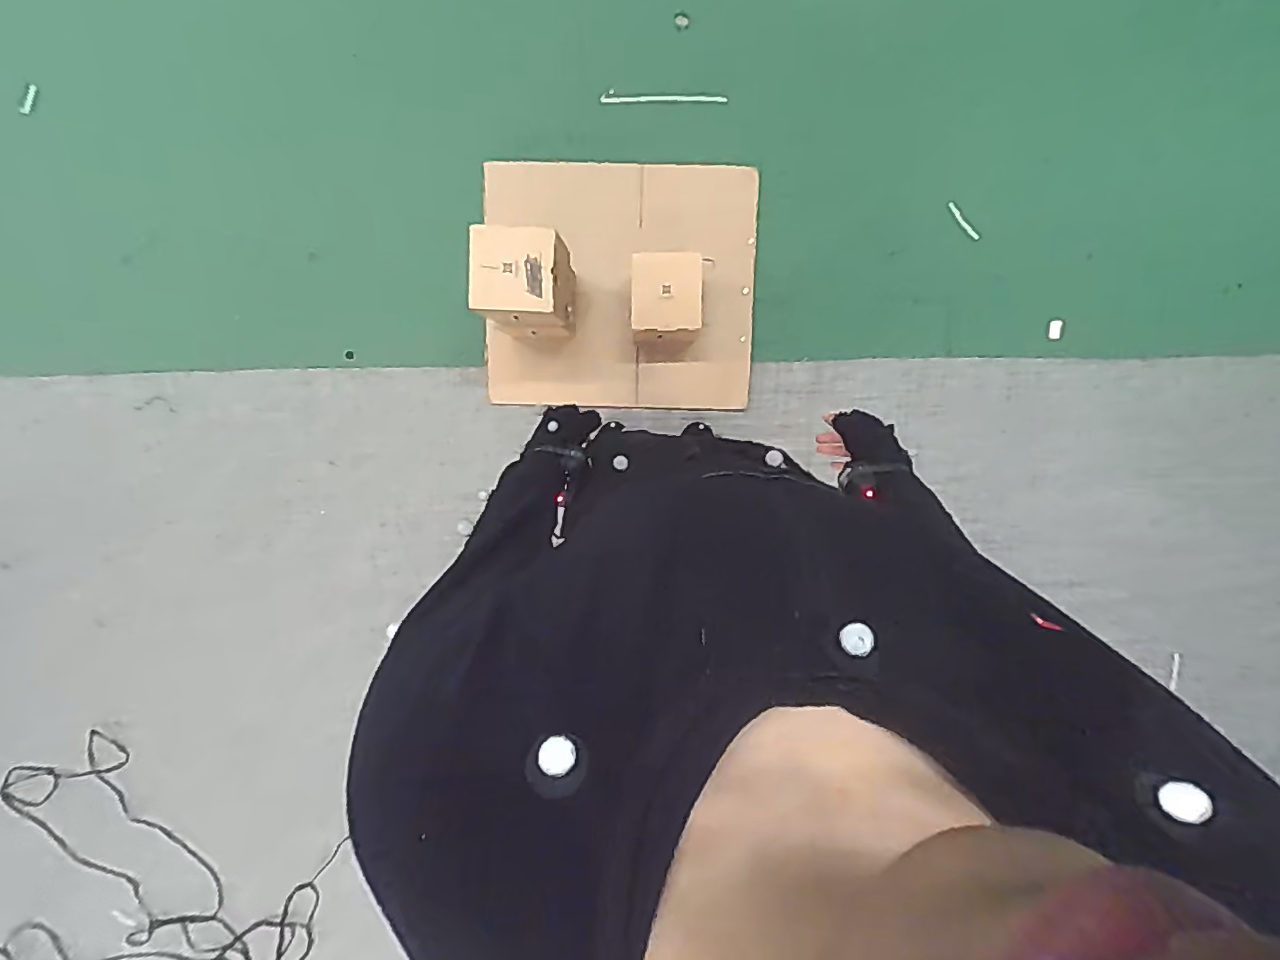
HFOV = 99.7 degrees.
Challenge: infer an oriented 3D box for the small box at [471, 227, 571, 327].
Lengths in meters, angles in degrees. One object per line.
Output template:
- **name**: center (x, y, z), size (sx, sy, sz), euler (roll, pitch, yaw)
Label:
- **small box**: center (-0.248, -0.426, 1.161), size (0.179, 0.176, 0.168), euler (4, 97, 3)

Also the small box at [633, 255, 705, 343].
- **small box**: center (0.067, -0.437, 1.322), size (0.168, 0.176, 0.179), euler (0, 98, 1)
